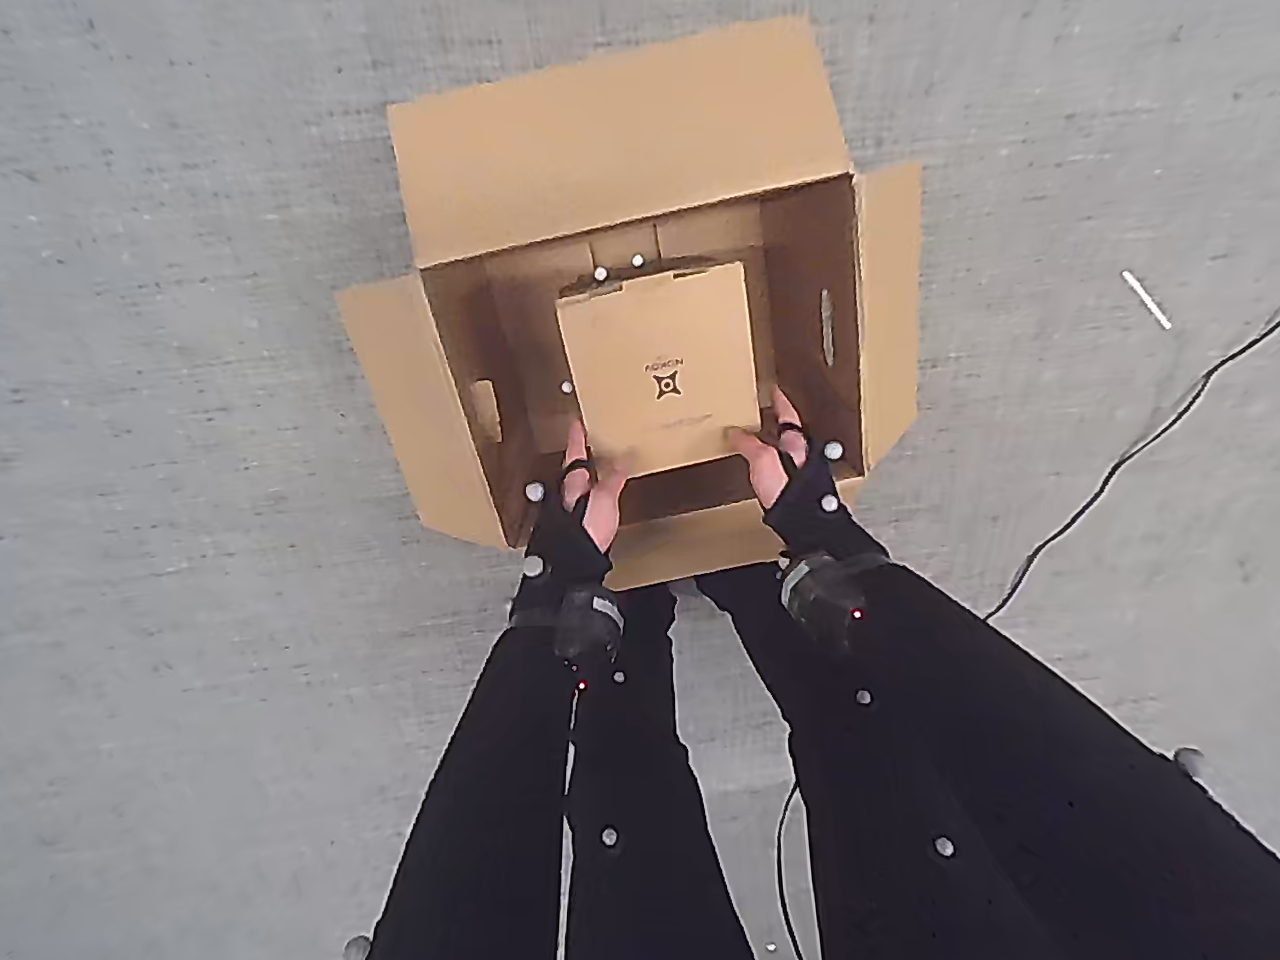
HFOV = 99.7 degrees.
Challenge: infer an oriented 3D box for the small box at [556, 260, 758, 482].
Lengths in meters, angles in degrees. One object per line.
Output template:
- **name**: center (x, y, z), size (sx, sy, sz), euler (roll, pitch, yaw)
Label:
- **small box**: center (0.013, -0.123, 0.561), size (0.168, 0.176, 0.179), euler (-12, 115, 0)
